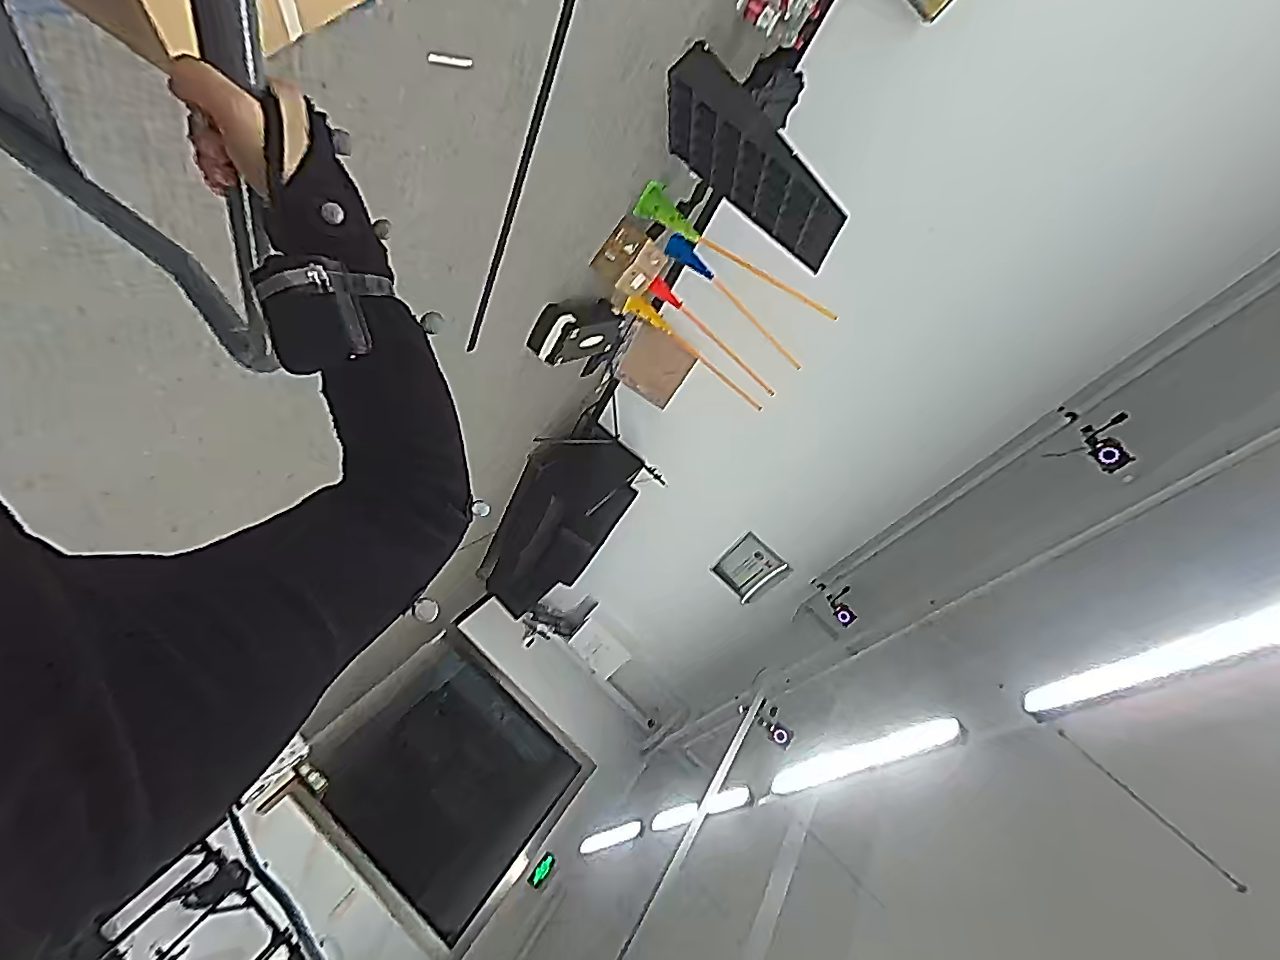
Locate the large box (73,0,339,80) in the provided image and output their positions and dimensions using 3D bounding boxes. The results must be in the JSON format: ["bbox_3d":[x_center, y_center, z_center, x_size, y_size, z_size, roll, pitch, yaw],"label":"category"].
[{"bbox_3d":[-0.529,-0.726,0.506,0.320,0.320,0.408,-55,-178,-24],"label":"large box"}]
